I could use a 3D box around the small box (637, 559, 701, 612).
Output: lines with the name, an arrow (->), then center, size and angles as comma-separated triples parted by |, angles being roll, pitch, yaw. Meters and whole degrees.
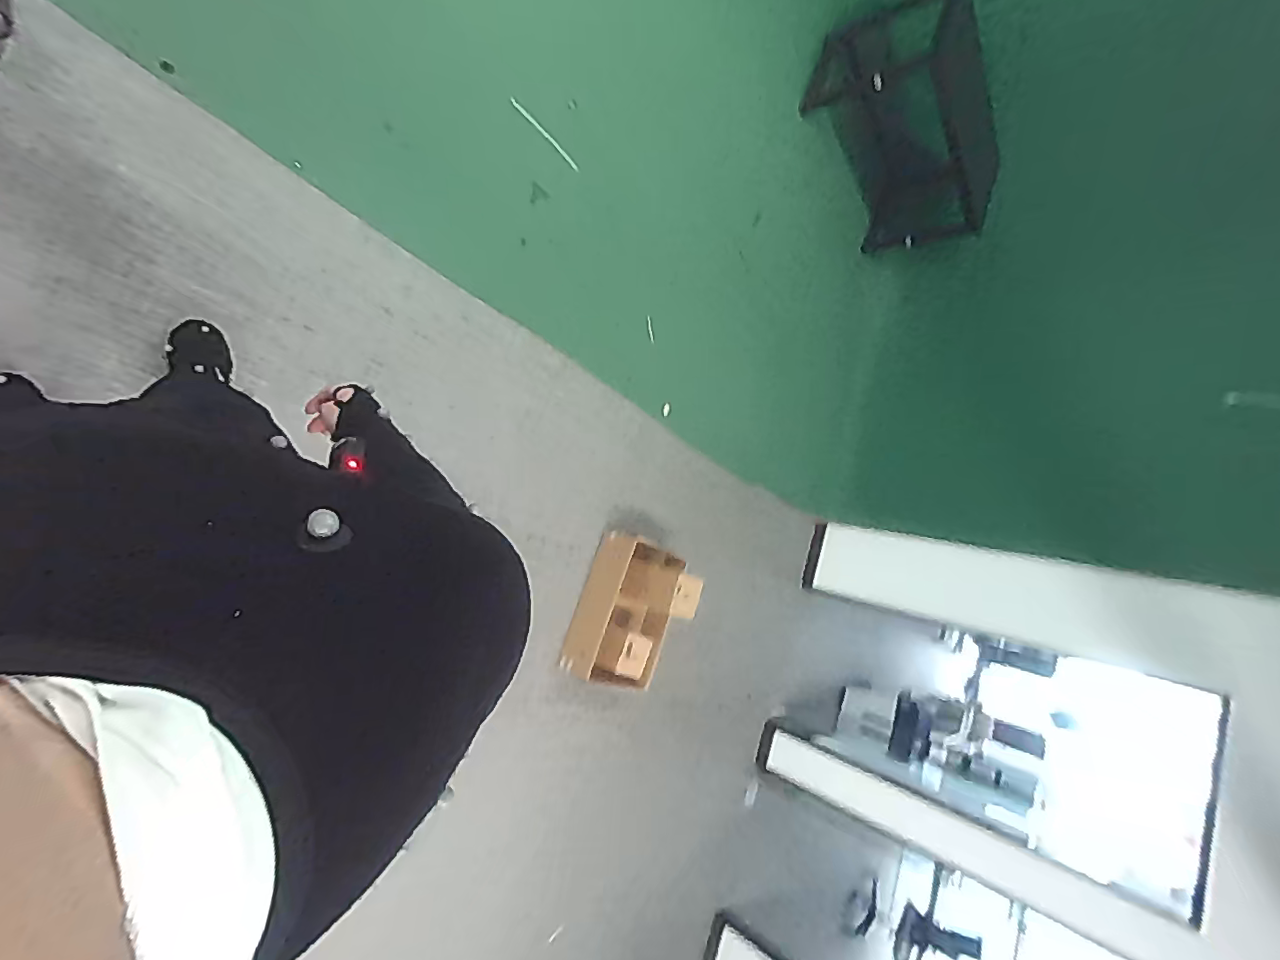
small box -> 0.120, 0.434, 2.243 | 0.179, 0.176, 0.168 | 26, 77, -47
